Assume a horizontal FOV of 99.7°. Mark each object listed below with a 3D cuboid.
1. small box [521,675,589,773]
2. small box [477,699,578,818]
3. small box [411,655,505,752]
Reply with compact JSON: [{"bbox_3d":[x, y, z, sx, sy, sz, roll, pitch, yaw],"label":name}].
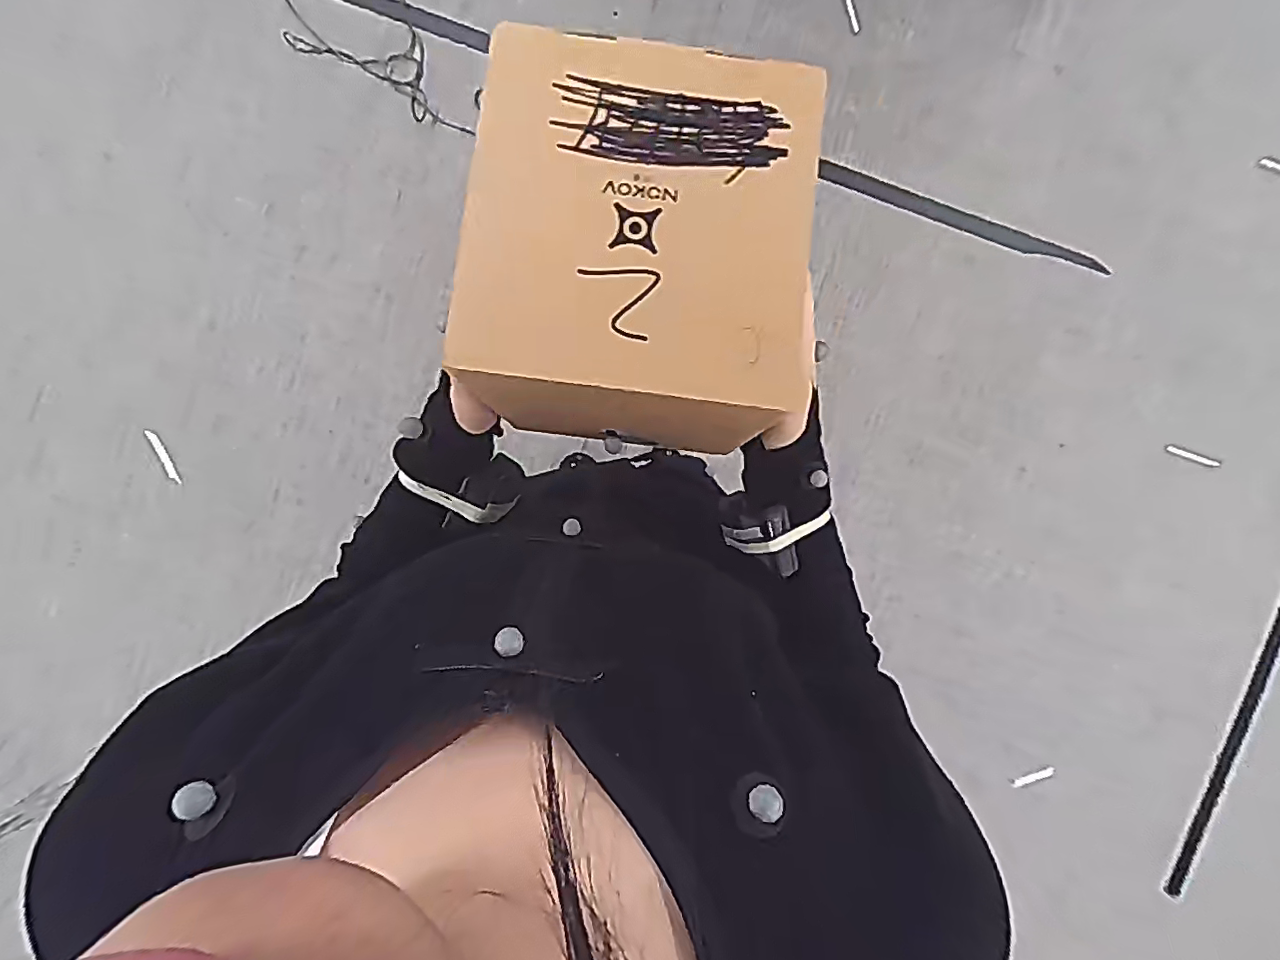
[{"bbox_3d":[-0.235,0.636,1.429,0.179,0.176,0.168,12,93,-3],"label":"small box"},{"bbox_3d":[-0.254,0.640,1.263,0.179,0.176,0.168,16,94,-2],"label":"small box"},{"bbox_3d":[-0.473,0.578,1.424,0.179,0.176,0.168,12,94,-3],"label":"small box"}]
